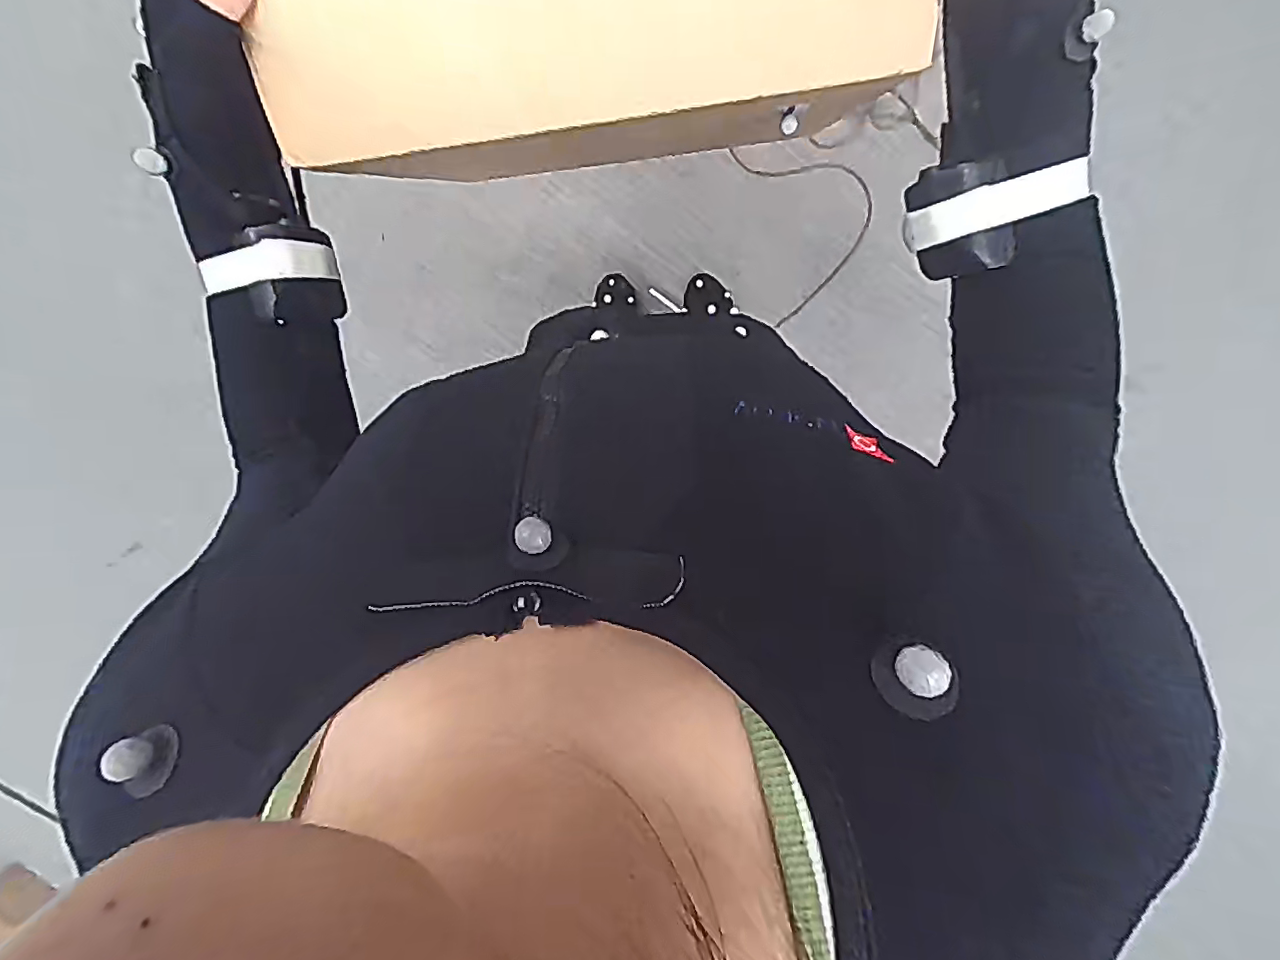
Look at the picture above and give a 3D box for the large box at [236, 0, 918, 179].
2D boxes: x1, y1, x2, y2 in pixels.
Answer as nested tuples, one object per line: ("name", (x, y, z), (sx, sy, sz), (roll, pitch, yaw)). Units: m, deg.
("large box", (-0.043, -0.430, 0.406), (0.408, 0.320, 0.320), (-5, 117, 7))
